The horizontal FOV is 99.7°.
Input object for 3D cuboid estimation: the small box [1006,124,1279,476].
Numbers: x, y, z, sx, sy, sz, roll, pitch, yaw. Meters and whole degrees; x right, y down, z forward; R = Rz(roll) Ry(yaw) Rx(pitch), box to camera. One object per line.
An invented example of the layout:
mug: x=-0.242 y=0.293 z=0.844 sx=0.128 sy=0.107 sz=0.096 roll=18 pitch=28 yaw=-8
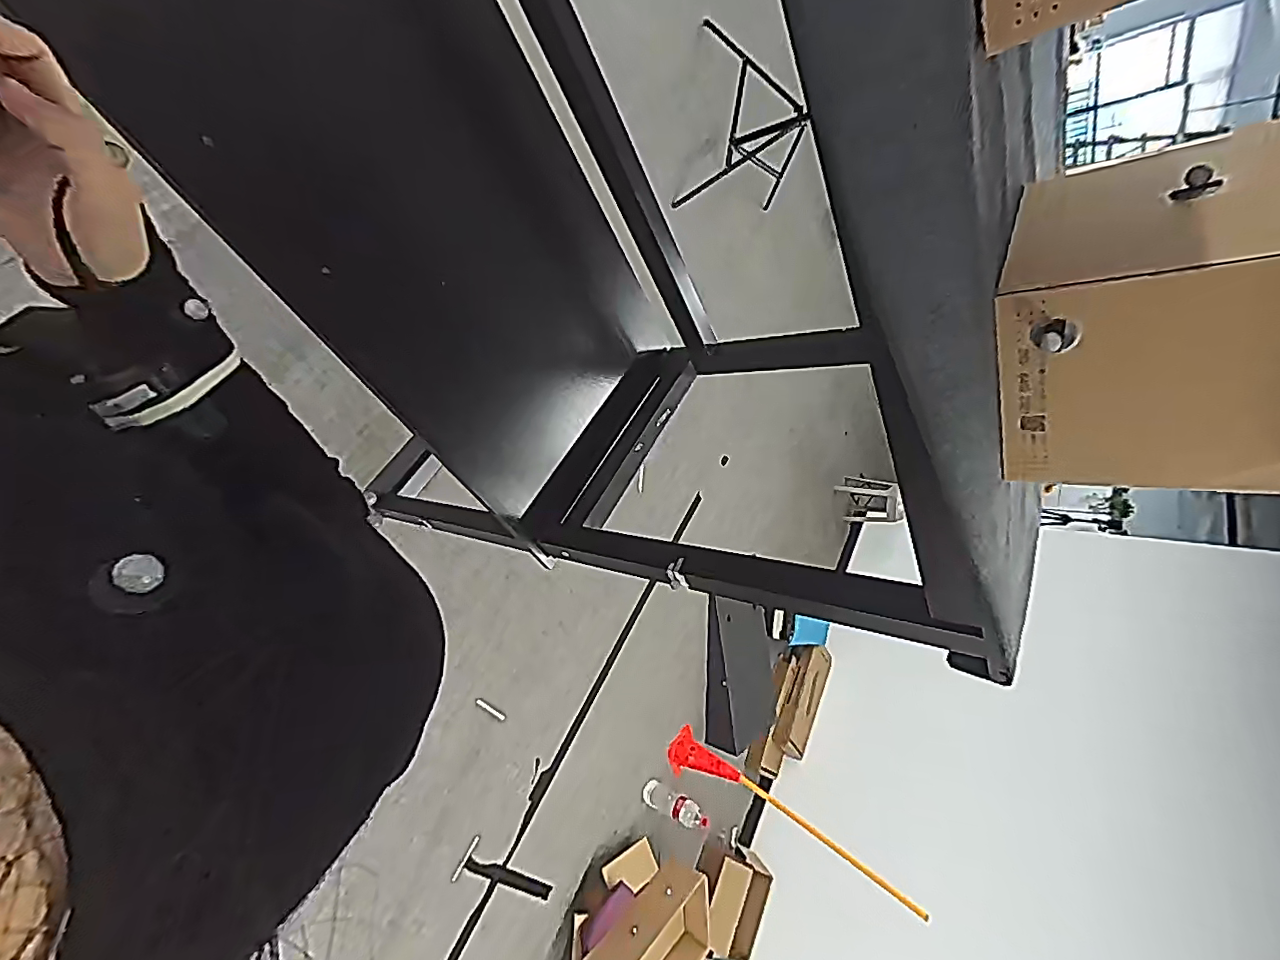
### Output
small box: x=0.365 y=-0.114 z=0.381 sx=0.179 sy=0.176 sz=0.168 roll=-56 pitch=132 yaw=-33
